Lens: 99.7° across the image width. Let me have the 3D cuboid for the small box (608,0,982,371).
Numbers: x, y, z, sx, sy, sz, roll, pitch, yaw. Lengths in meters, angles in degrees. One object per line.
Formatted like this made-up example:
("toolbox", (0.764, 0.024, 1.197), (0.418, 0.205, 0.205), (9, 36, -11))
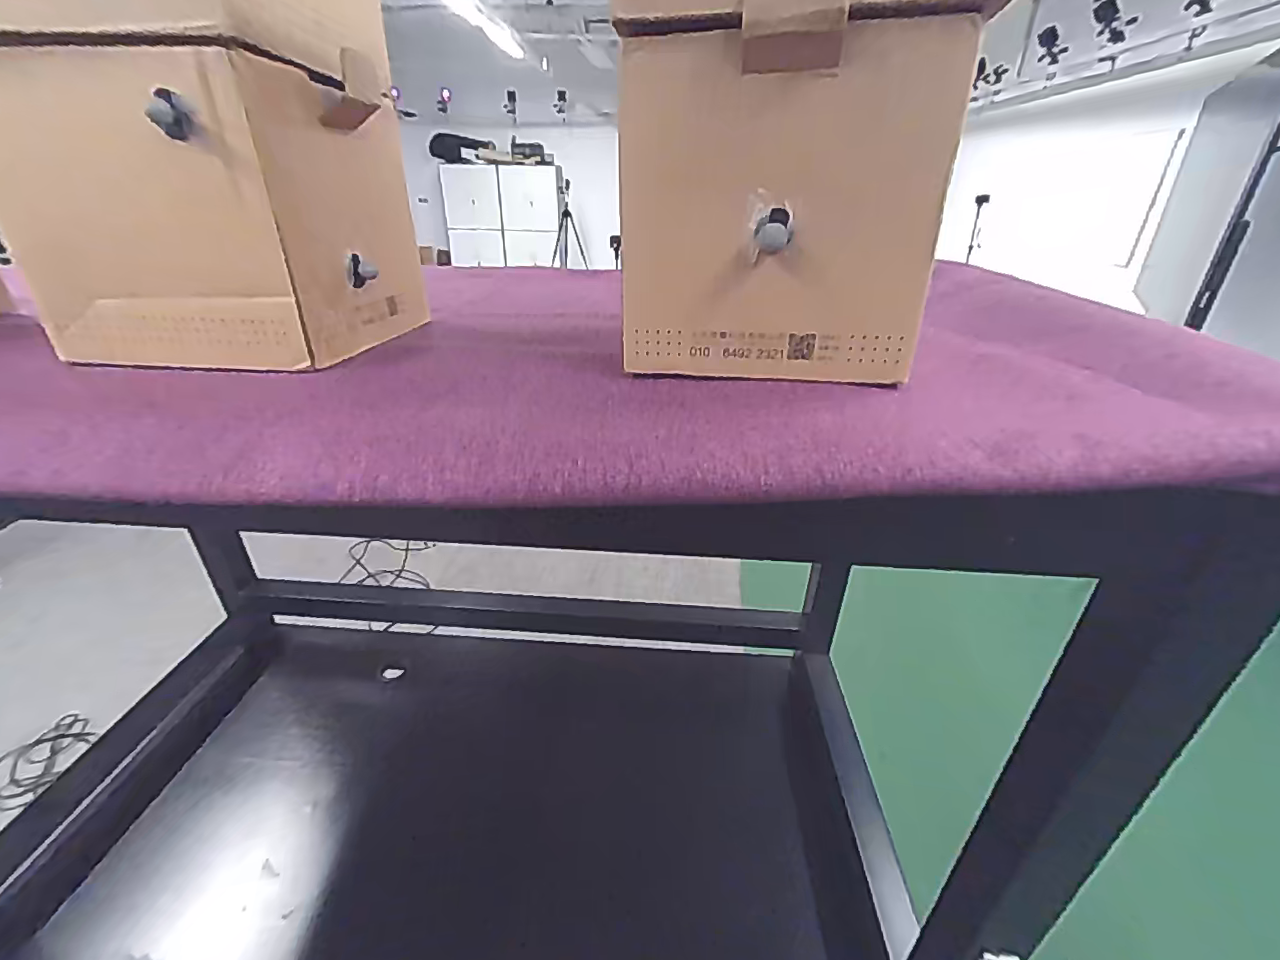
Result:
("small box", (0.083, -0.172, 0.345), (0.168, 0.176, 0.179), (4, 27, 10))

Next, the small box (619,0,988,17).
("small box", (0.083, -0.316, 0.264), (0.179, 0.176, 0.168), (4, 26, 9))

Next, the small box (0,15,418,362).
("small box", (-0.278, -0.181, 0.366), (0.179, 0.176, 0.168), (3, 27, 3))

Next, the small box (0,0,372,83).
("small box", (-0.270, -0.325, 0.291), (0.168, 0.176, 0.179), (3, 26, 1))
